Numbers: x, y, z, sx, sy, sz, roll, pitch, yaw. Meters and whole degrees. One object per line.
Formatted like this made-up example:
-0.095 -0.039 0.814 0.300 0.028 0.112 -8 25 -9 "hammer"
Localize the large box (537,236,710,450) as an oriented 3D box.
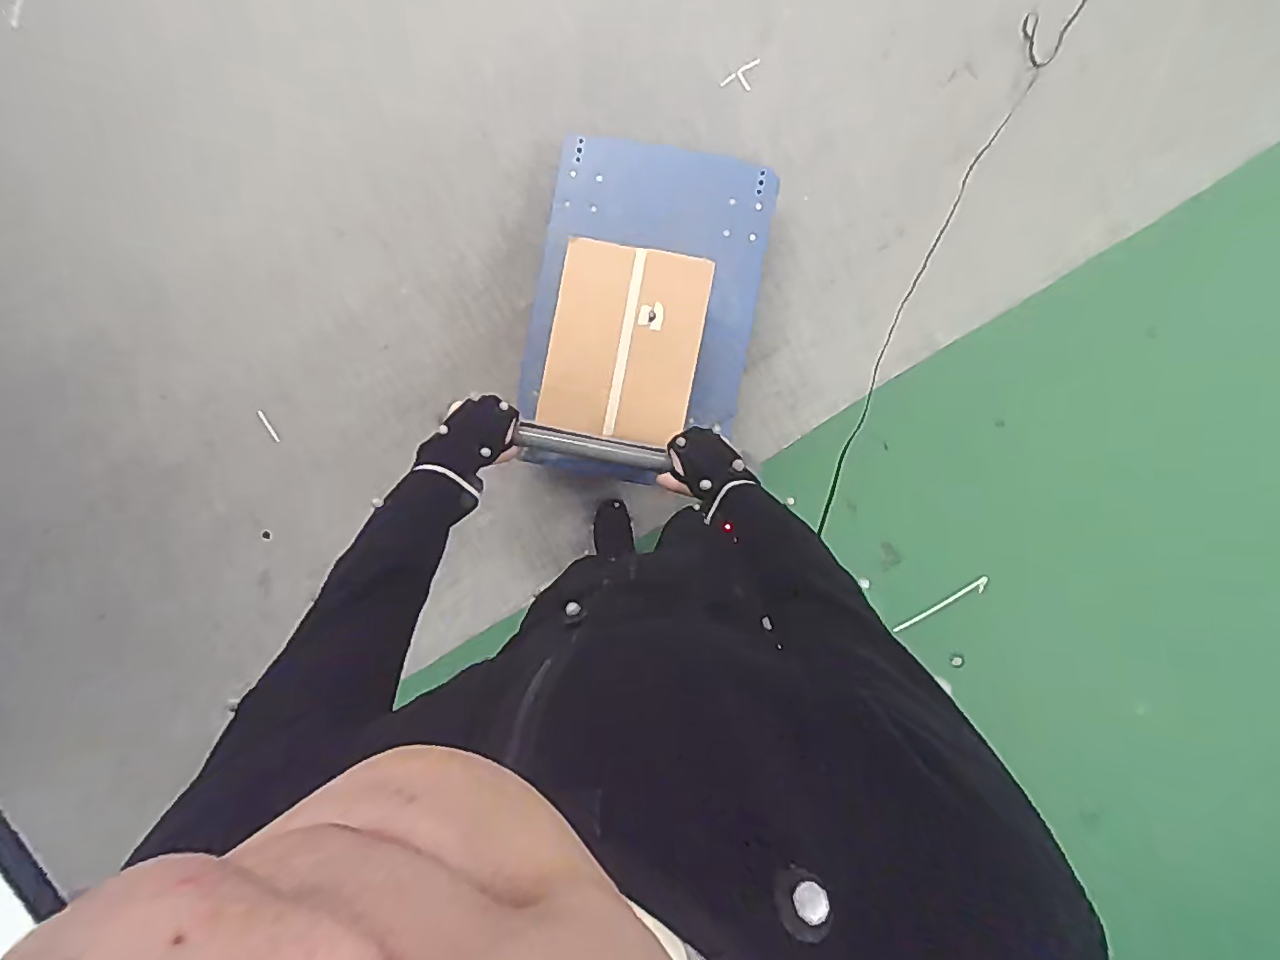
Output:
-0.031 -0.298 1.298 0.320 0.320 0.408 12 91 1 "large box"
